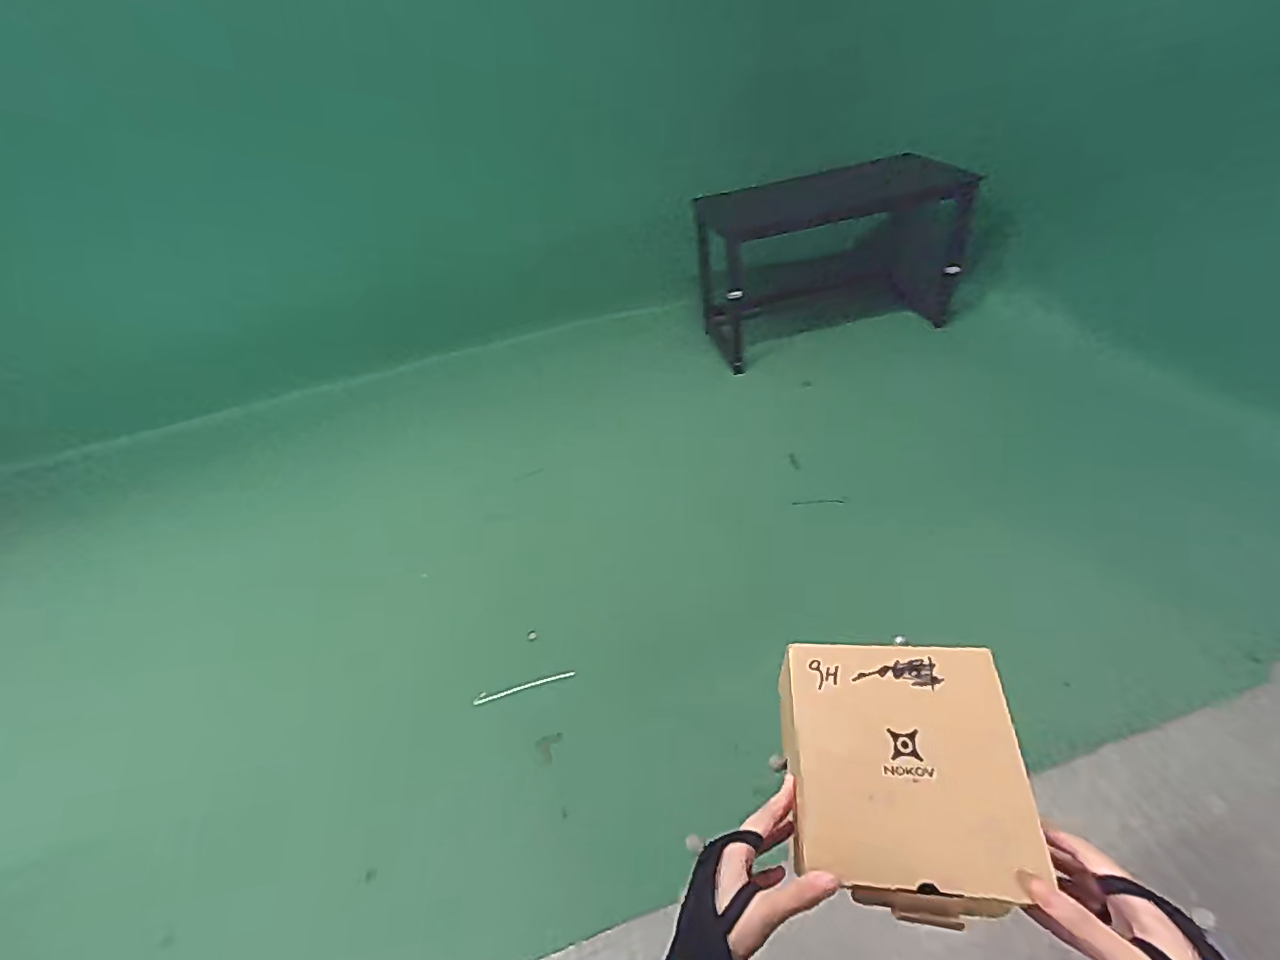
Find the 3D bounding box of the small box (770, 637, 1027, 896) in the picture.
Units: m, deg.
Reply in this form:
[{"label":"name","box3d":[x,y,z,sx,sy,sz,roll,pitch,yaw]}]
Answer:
[{"label":"small box","box3d":[0.210,0.254,0.498,0.168,0.176,0.179,-2,59,10]}]
